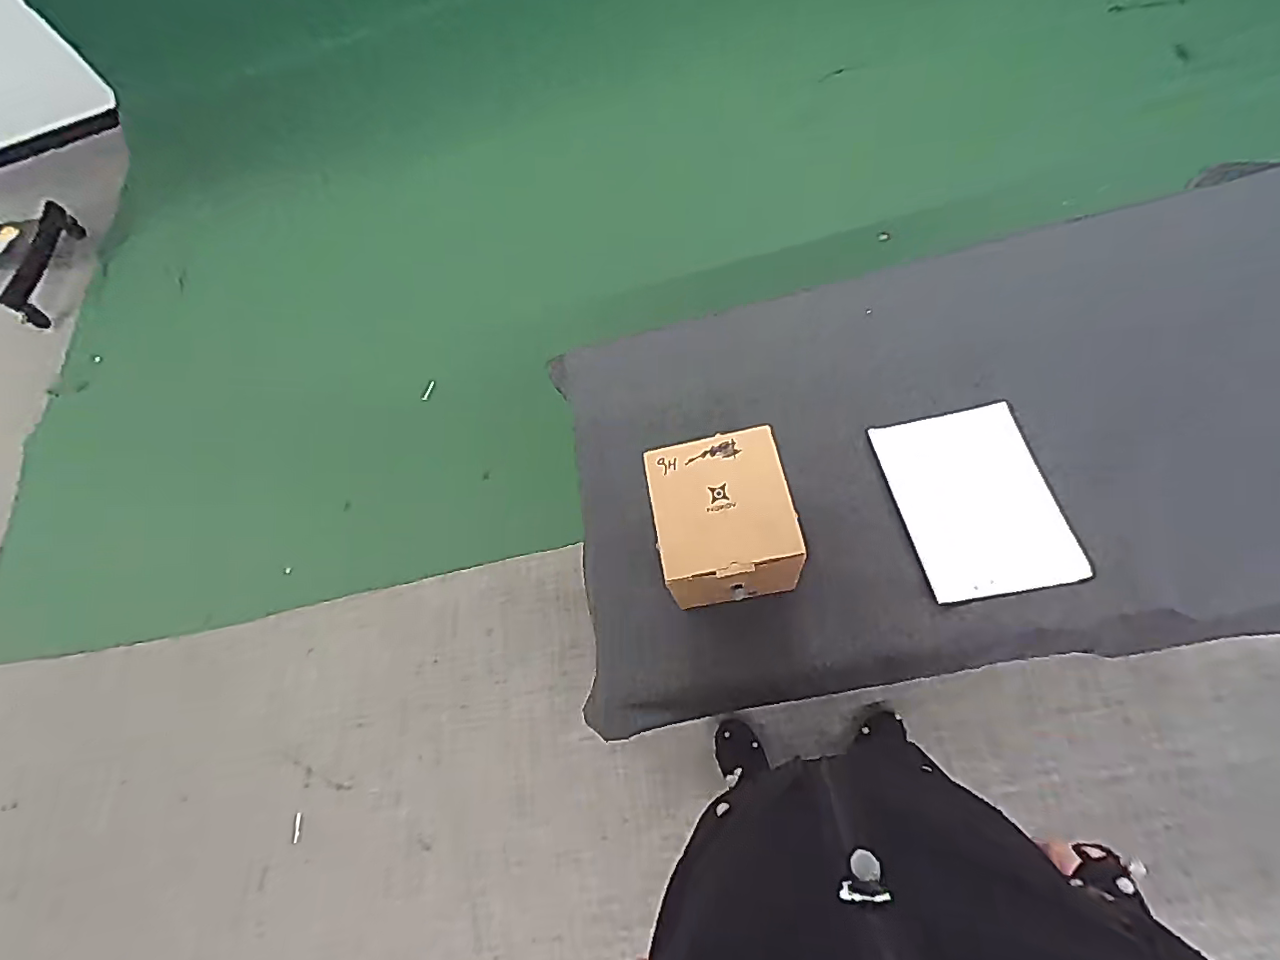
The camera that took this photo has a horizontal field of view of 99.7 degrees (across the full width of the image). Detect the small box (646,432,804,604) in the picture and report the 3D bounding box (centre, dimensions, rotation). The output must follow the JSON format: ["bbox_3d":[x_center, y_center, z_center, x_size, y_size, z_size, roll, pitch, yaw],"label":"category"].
[{"bbox_3d":[0.113,0.063,0.726,0.168,0.176,0.179,-12,66,6],"label":"small box"}]
